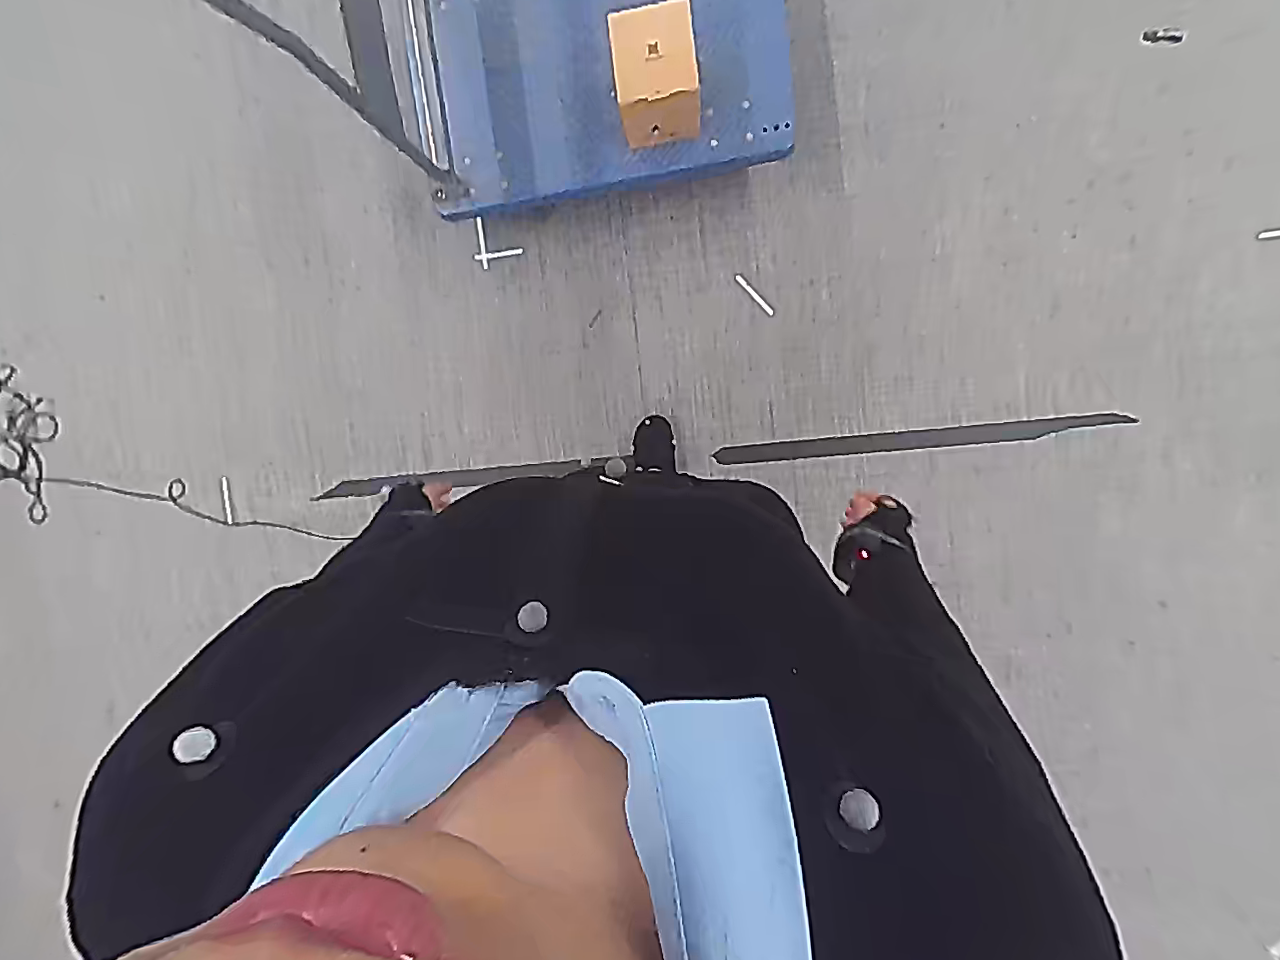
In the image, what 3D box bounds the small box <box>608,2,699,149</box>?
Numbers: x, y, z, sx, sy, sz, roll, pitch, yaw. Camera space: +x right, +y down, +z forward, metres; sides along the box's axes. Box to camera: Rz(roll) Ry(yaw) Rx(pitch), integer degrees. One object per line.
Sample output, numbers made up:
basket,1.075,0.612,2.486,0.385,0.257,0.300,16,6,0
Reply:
small box,0.032,-0.848,1.149,0.168,0.176,0.179,-7,94,6
